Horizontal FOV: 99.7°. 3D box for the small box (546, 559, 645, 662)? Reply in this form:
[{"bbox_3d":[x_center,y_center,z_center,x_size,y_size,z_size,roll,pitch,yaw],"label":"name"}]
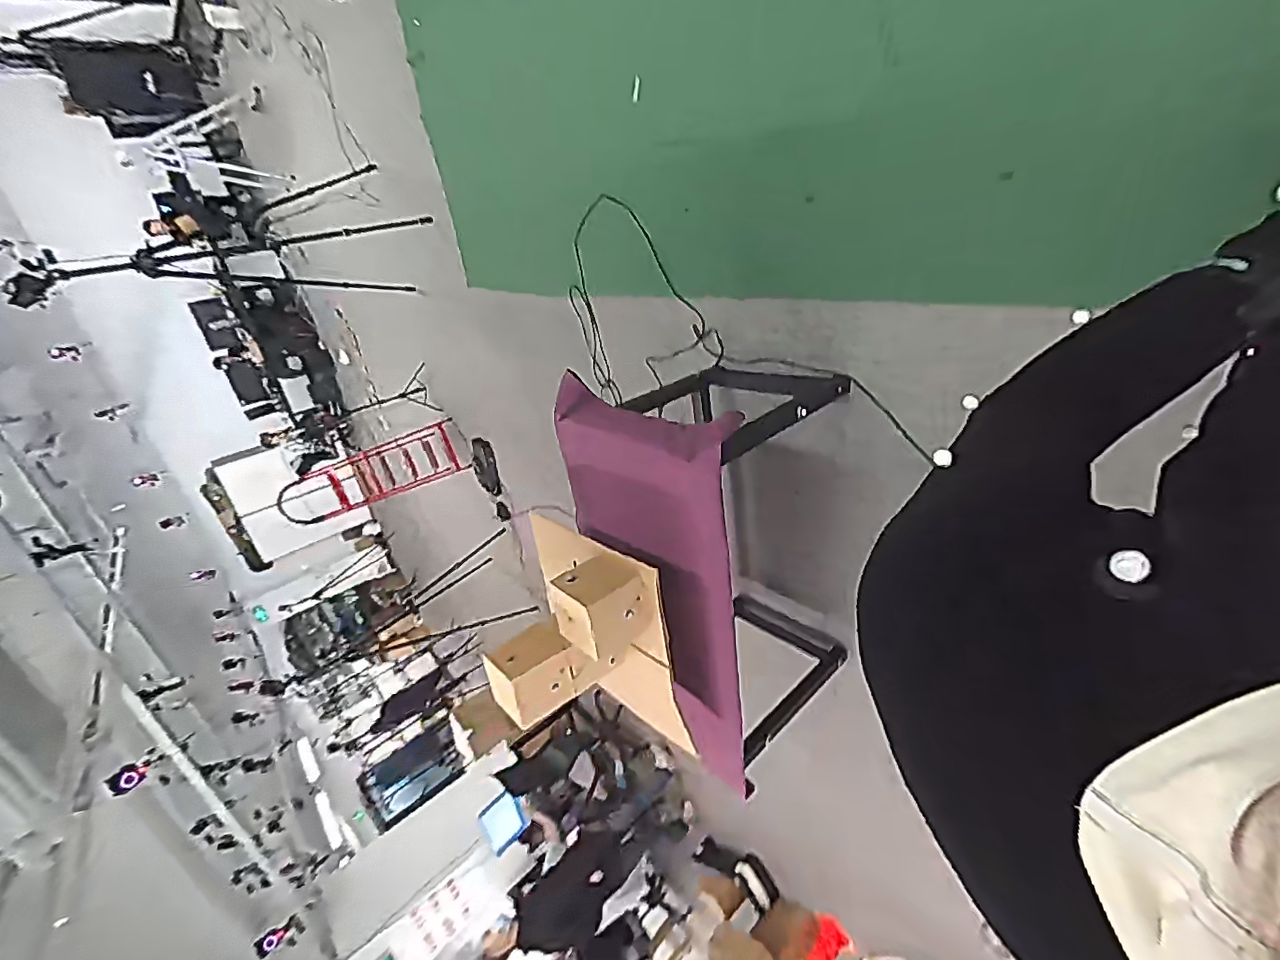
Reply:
[{"bbox_3d":[-0.111,0.320,1.375,0.179,0.176,0.168,17,124,46],"label":"small box"}]

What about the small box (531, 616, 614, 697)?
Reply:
[{"bbox_3d":[-0.188,0.482,1.570,0.179,0.176,0.168,17,122,48],"label":"small box"}]

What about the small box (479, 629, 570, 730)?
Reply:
[{"bbox_3d":[-0.315,0.536,1.484,0.179,0.176,0.168,15,120,47],"label":"small box"}]
